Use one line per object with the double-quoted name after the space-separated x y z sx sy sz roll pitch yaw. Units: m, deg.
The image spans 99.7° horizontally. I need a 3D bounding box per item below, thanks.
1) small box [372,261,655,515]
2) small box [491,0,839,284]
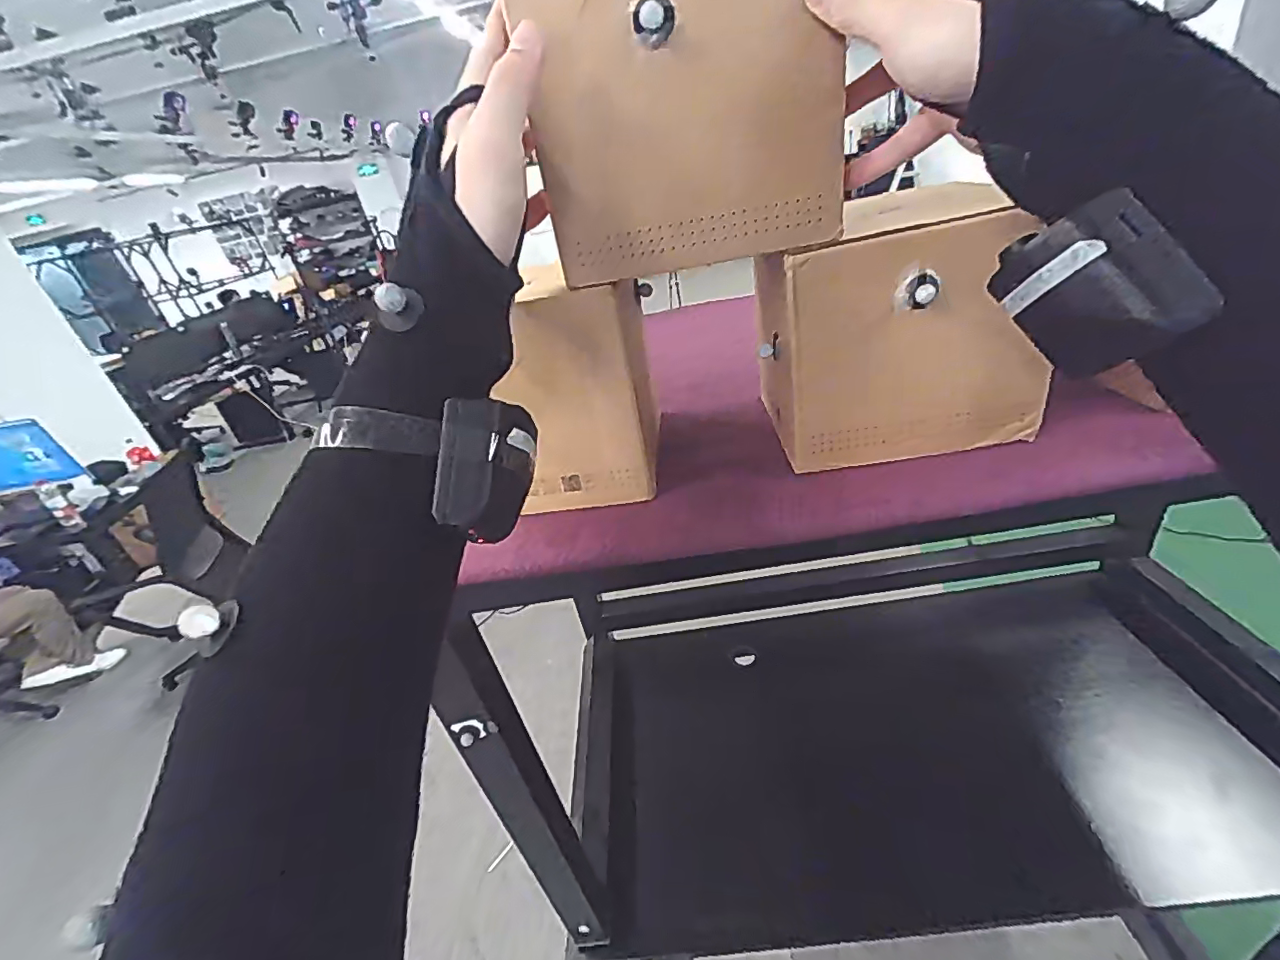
-0.082 -0.081 0.463 0.168 0.176 0.179 -7 29 8 "small box"
0.020 -0.244 0.366 0.179 0.176 0.168 -12 31 4 "small box"
